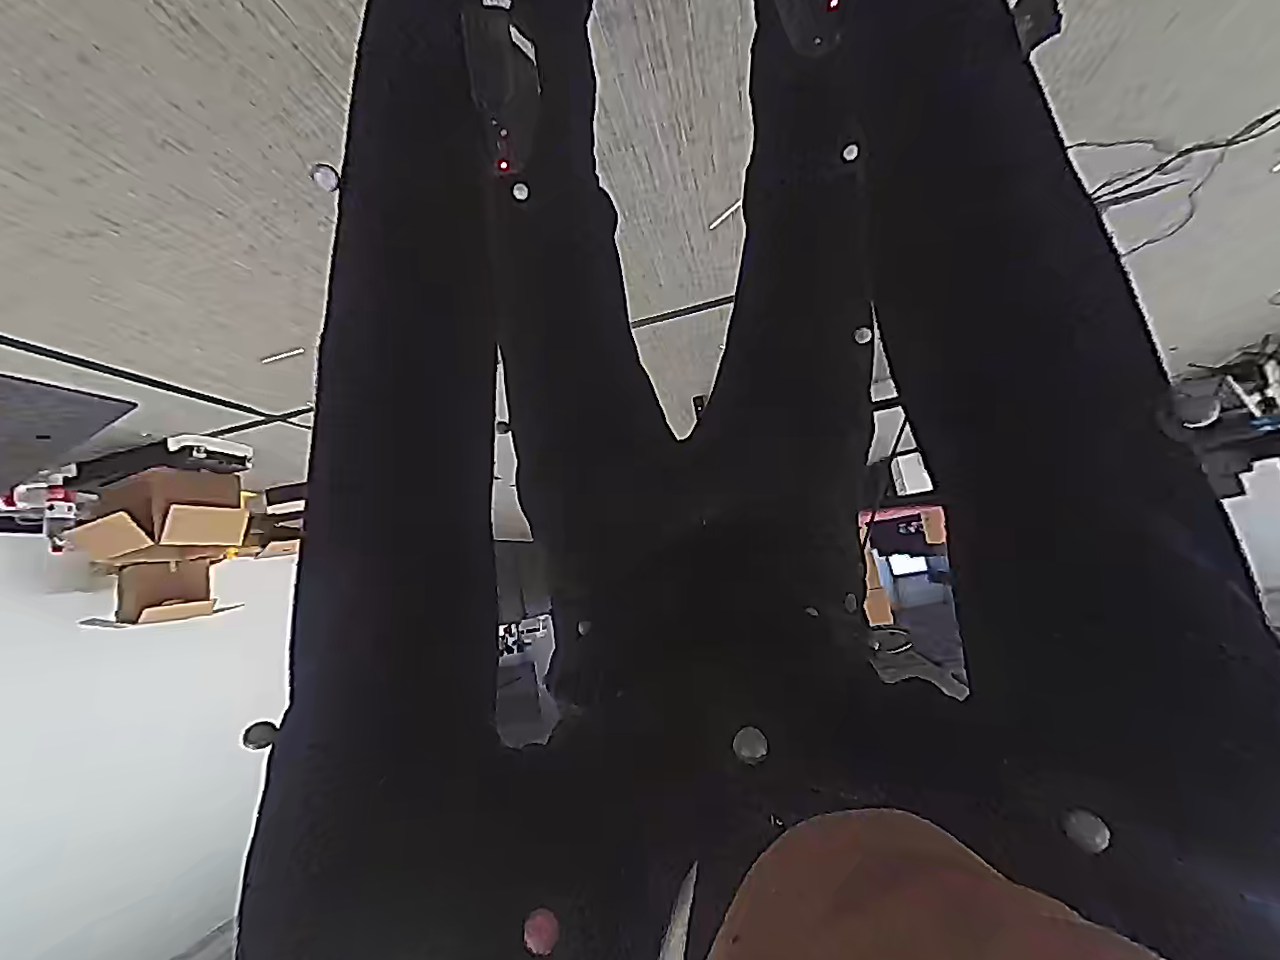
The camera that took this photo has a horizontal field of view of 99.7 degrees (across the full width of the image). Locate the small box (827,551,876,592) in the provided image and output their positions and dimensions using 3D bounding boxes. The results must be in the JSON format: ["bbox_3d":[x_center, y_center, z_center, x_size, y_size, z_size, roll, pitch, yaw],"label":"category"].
[{"bbox_3d":[1.027,0.441,2.632,0.179,0.176,0.168,-12,170,13],"label":"small box"}]

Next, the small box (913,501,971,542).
[{"bbox_3d":[1.430,0.197,2.572,0.179,0.176,0.168,-11,171,8],"label":"small box"}]

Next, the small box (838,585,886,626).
[{"bbox_3d":[1.063,0.598,2.601,0.179,0.176,0.168,-11,171,13],"label":"small box"}]
